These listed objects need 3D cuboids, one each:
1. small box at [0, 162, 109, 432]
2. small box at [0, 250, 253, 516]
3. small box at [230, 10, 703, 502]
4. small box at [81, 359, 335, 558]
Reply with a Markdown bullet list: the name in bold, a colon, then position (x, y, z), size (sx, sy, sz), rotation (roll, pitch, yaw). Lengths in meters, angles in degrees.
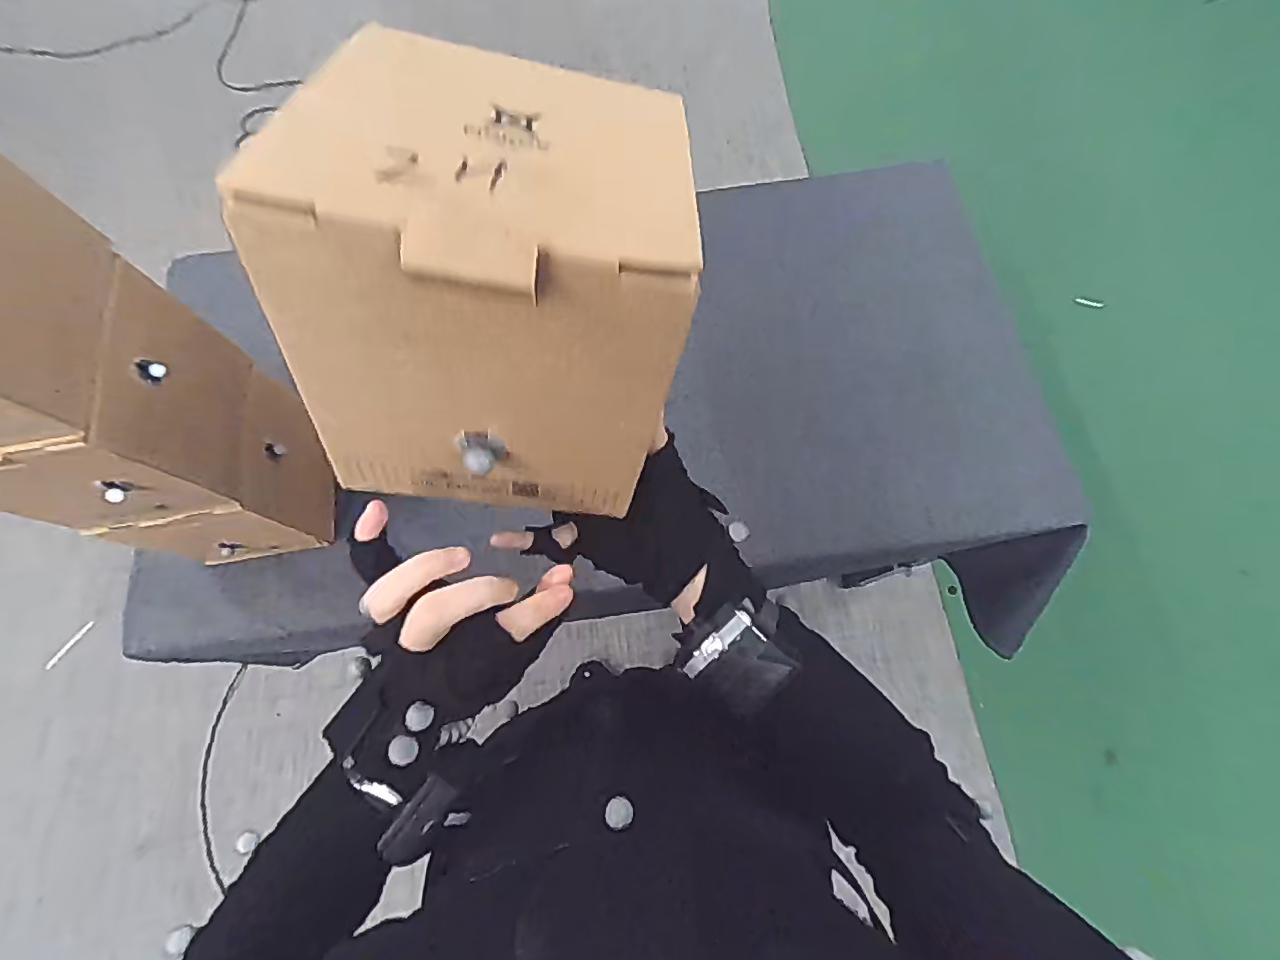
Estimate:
- **small box**: position (-0.496, -0.131, 0.339), size (0.168, 0.176, 0.179), rotation (-10, 72, -3)
- **small box**: position (-0.492, -0.072, 0.493), size (0.168, 0.176, 0.179), rotation (-9, 72, -3)
- **small box**: position (-0.070, -0.112, 0.300), size (0.168, 0.176, 0.179), rotation (7, 54, -8)
- **small box**: position (-0.490, -0.017, 0.646), size (0.168, 0.176, 0.179), rotation (-10, 72, -2)
